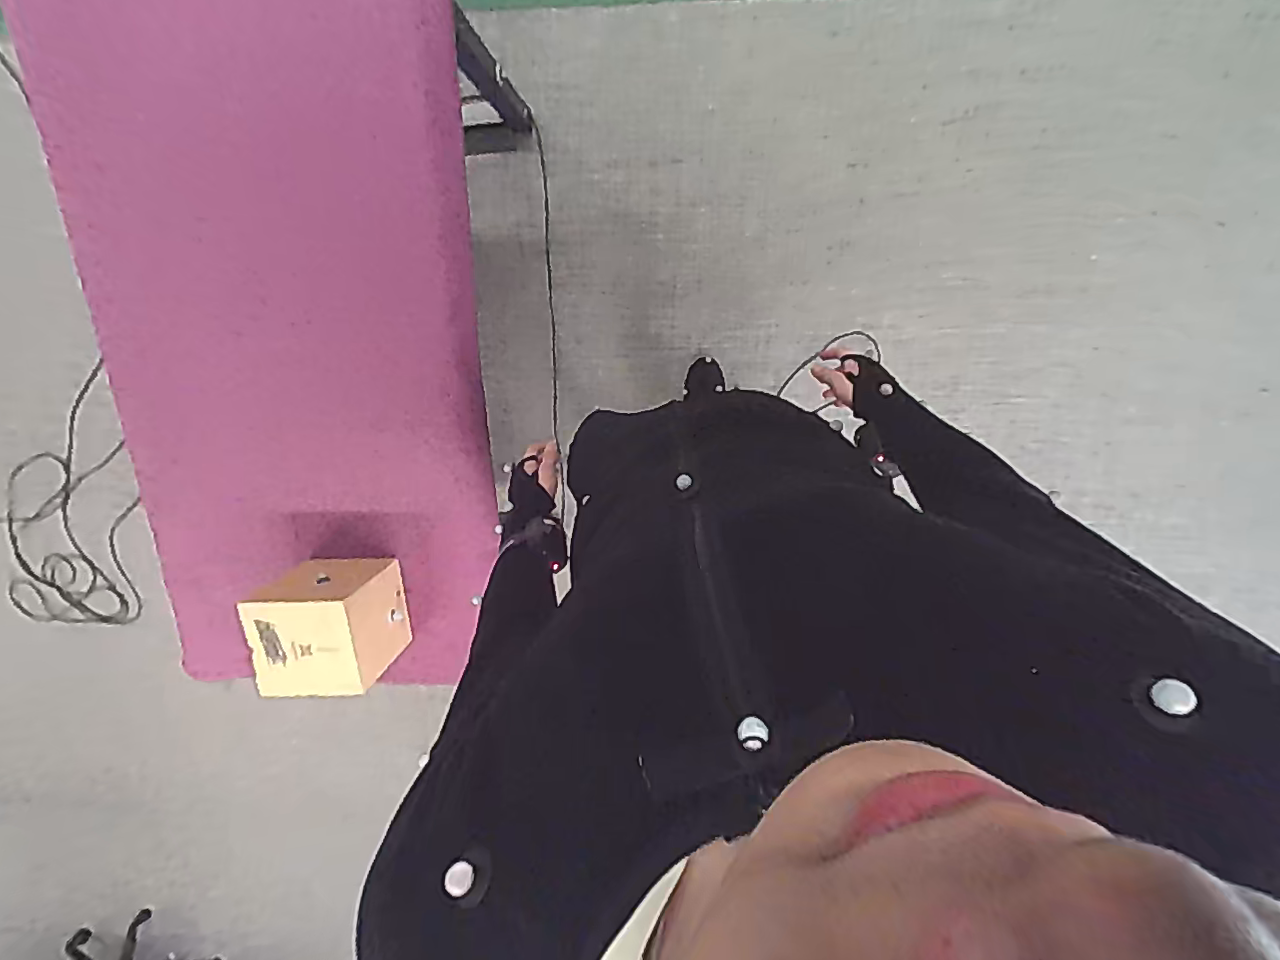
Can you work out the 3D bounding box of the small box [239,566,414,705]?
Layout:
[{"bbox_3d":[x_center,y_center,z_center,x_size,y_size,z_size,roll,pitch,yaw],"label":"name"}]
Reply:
[{"bbox_3d":[-0.506,0.250,0.898,0.179,0.176,0.168,-3,104,4],"label":"small box"}]
